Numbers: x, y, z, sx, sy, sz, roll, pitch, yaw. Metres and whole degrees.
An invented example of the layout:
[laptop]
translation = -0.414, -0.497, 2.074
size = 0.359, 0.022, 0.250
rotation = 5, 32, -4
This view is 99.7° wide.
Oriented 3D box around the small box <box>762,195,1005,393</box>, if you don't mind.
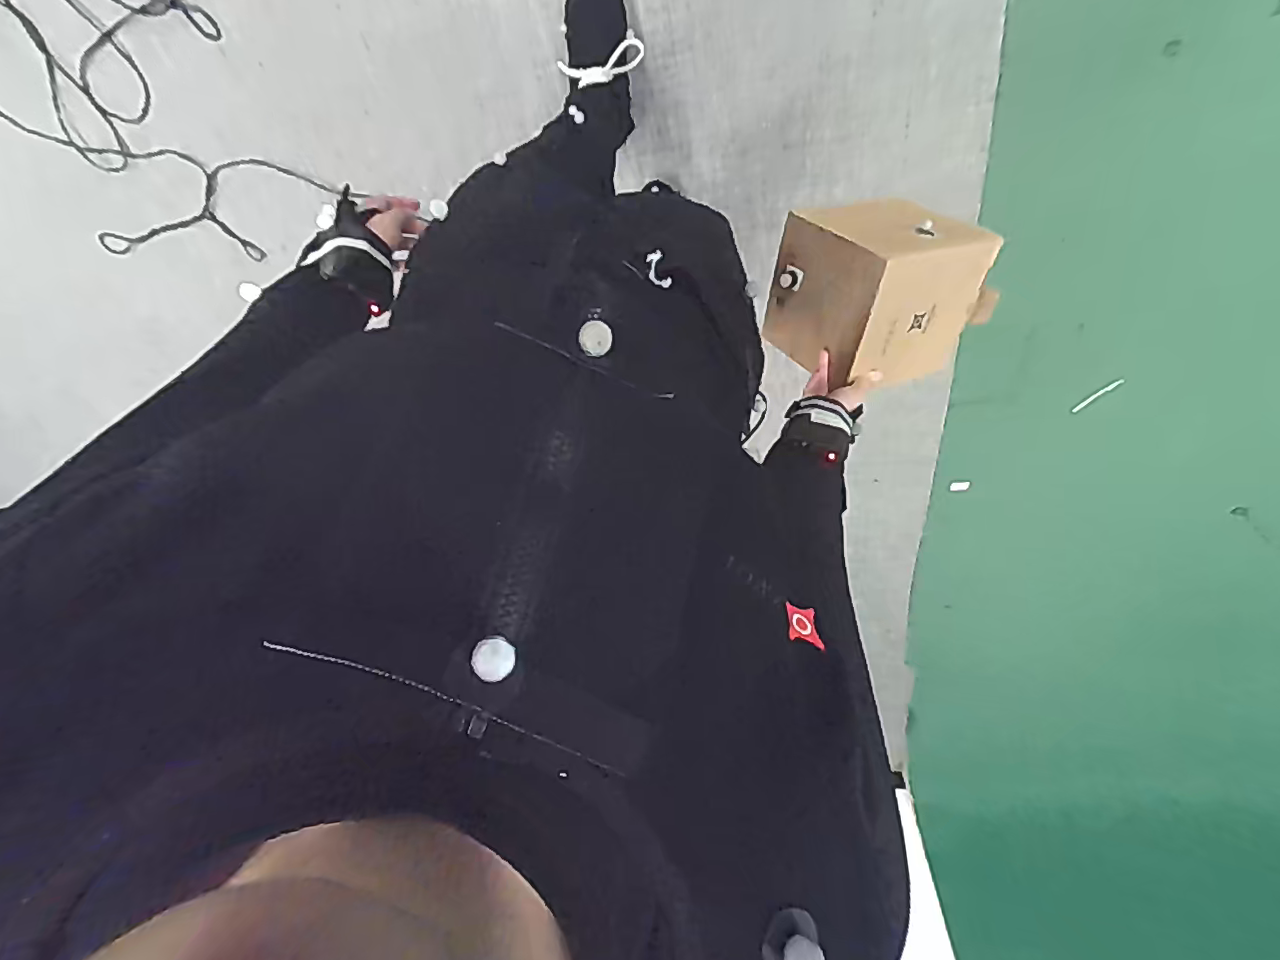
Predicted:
[small box]
translation = 0.280, -0.234, 0.660
size = 0.179, 0.176, 0.168
rotation = -17, 136, -21
